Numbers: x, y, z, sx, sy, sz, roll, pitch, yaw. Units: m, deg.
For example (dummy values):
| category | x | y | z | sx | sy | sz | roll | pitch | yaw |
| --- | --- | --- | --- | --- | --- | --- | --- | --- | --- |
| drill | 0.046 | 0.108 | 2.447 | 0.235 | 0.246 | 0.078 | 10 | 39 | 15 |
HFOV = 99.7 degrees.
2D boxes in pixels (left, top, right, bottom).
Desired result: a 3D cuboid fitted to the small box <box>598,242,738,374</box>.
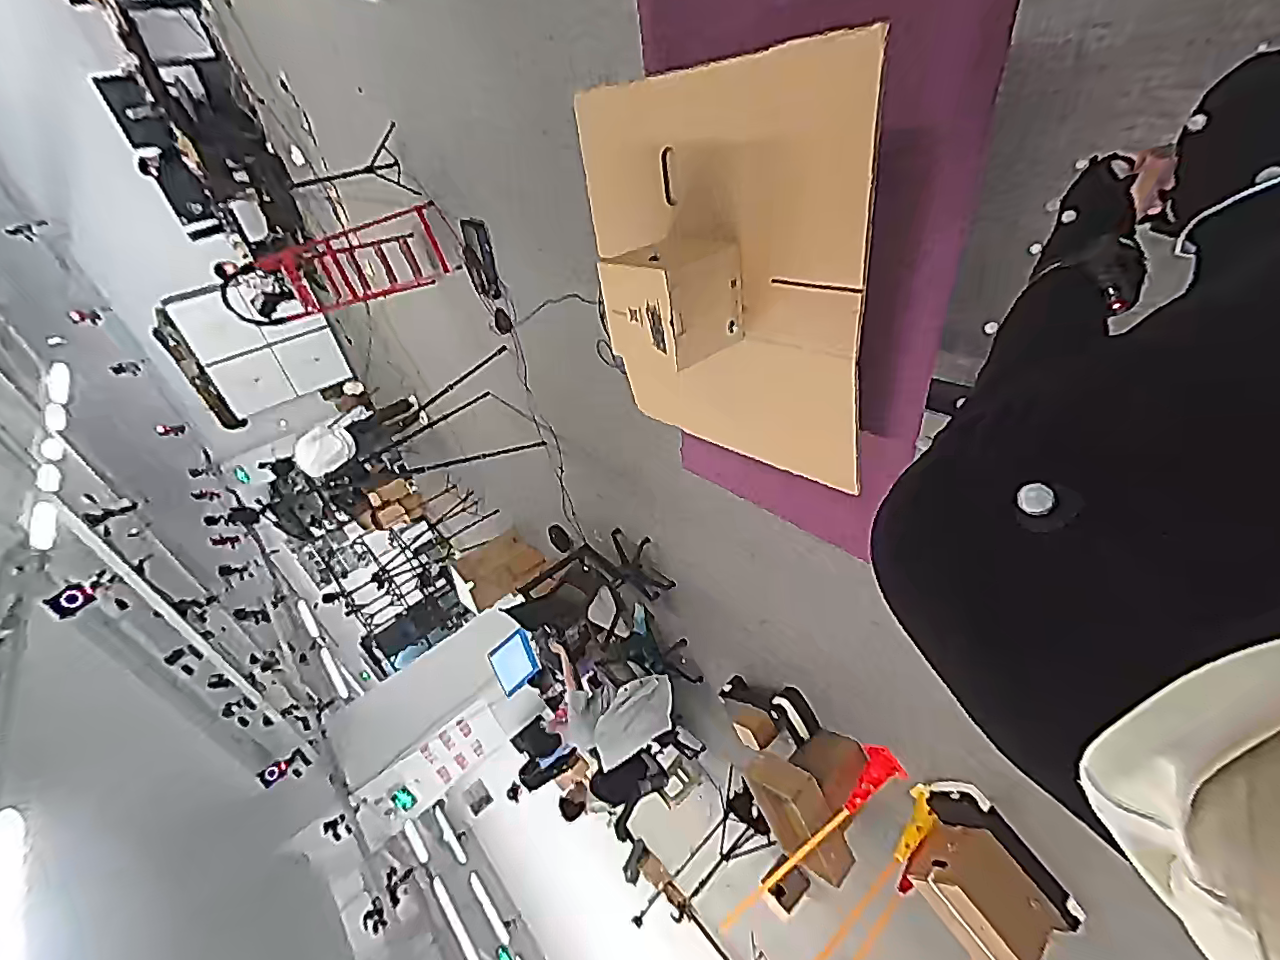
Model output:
| category | x | y | z | sx | sy | sz | roll | pitch | yaw |
| --- | --- | --- | --- | --- | --- | --- | --- | --- | --- |
| small box | 0.057 | -0.304 | 0.934 | 0.179 | 0.176 | 0.168 | 28 | 139 | 43 |
